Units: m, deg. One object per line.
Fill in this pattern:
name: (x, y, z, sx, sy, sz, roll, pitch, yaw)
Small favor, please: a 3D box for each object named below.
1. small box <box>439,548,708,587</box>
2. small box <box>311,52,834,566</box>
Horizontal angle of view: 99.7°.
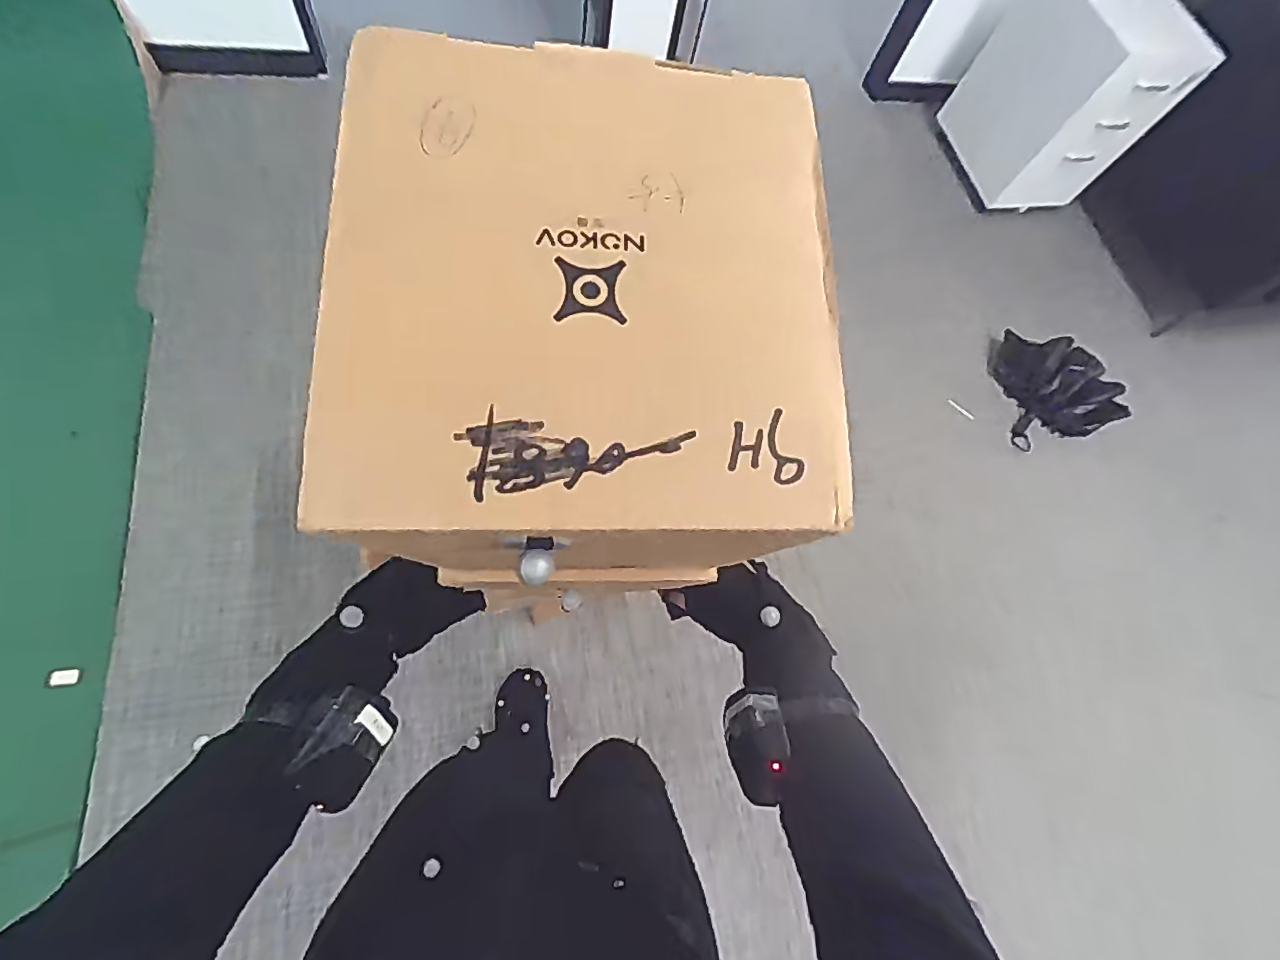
small box: (-0.048, -0.009, 0.423, 0.168, 0.176, 0.179, 1, 77, -6)
small box: (-0.027, -0.055, 0.267, 0.168, 0.176, 0.179, 1, 76, -6)
